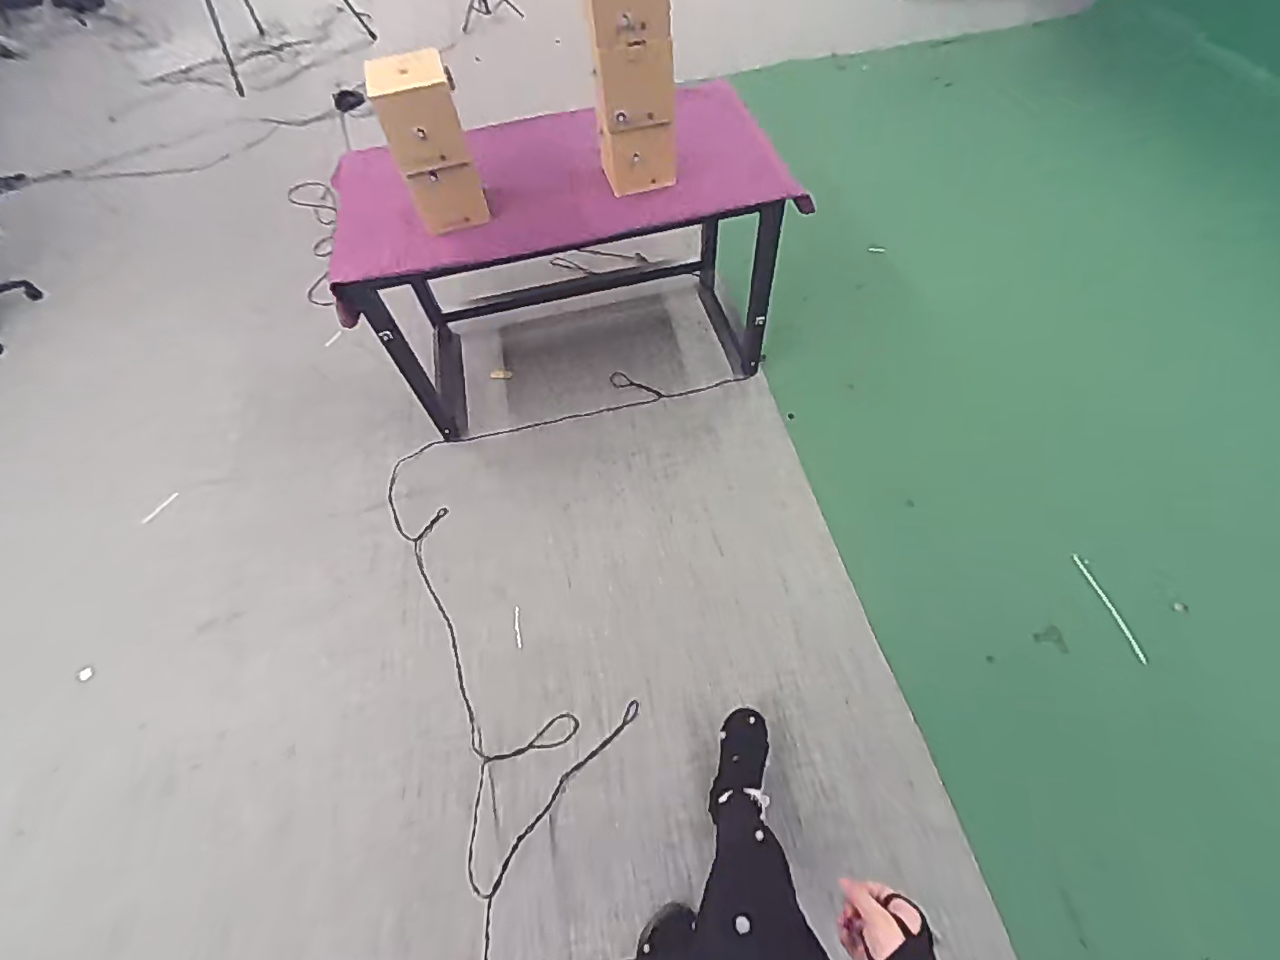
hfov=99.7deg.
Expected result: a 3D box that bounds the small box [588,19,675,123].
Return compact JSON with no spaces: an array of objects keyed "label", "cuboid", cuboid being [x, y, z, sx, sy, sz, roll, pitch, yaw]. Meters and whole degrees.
[{"label":"small box","cuboid":[-0.016,-0.955,1.253,0.168,0.176,0.179,-12,57,-3]}]

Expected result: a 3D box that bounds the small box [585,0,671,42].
[{"label":"small box","cuboid":[-0.032,-1.045,1.118,0.168,0.176,0.179,-12,58,-2]}]

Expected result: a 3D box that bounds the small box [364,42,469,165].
[{"label":"small box","cuboid":[-0.498,-0.837,1.217,0.168,0.176,0.179,-16,59,-6]}]

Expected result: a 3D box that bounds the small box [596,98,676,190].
[{"label":"small box","cuboid":[-0.008,-0.875,1.397,0.168,0.176,0.179,-15,58,-4]}]

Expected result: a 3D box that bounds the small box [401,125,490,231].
[{"label":"small box","cuboid":[-0.493,-0.766,1.367,0.168,0.176,0.179,-18,59,-6]}]
